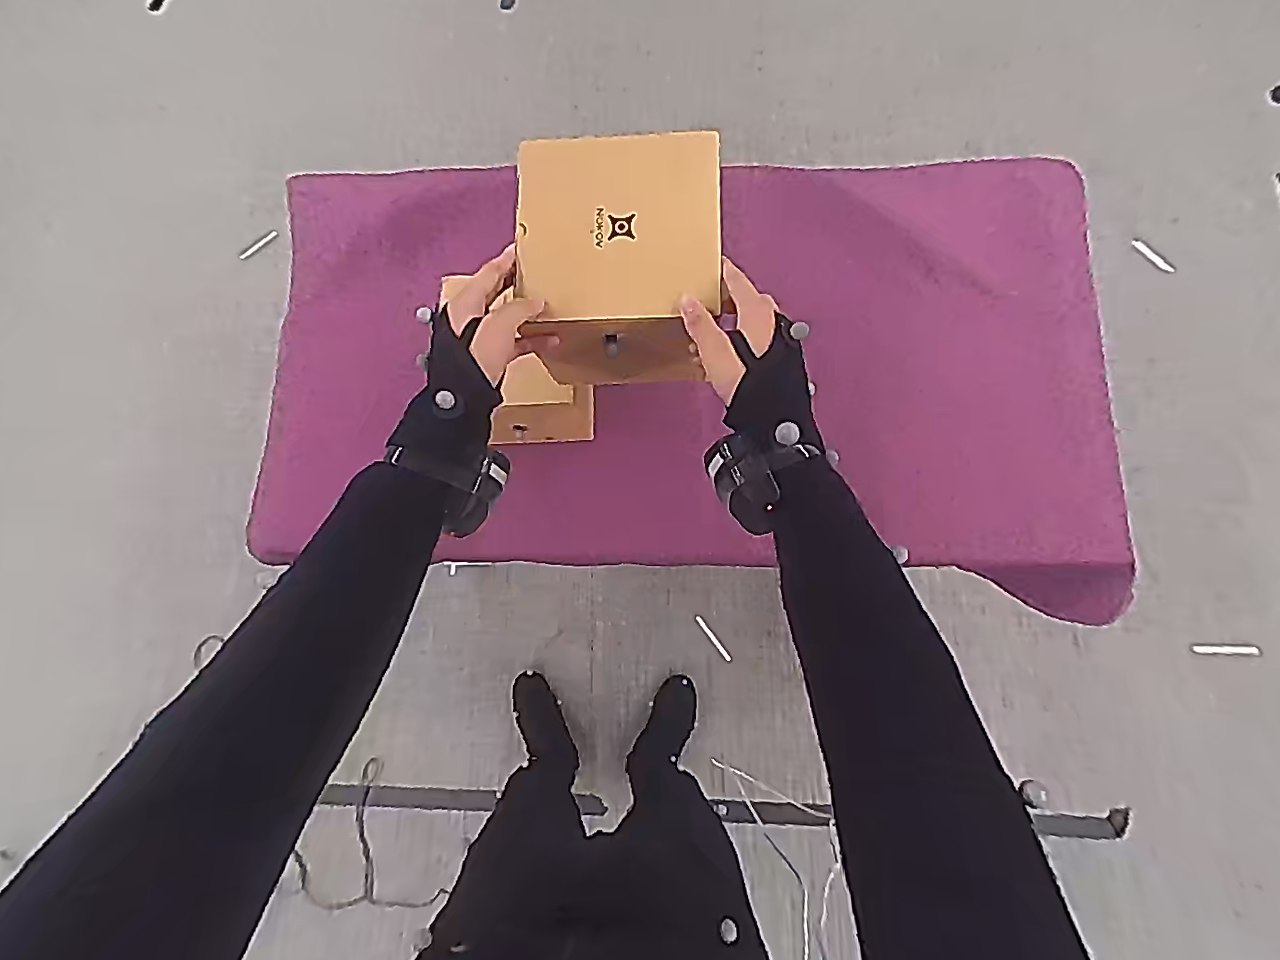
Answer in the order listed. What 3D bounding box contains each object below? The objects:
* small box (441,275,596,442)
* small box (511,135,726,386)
[{"bbox_3d":[-0.149,-0.151,0.722,0.168,0.176,0.179,-1,79,2],"label":"small box"},{"bbox_3d":[-0.012,-0.194,0.522,0.179,0.176,0.168,0,83,6],"label":"small box"}]
